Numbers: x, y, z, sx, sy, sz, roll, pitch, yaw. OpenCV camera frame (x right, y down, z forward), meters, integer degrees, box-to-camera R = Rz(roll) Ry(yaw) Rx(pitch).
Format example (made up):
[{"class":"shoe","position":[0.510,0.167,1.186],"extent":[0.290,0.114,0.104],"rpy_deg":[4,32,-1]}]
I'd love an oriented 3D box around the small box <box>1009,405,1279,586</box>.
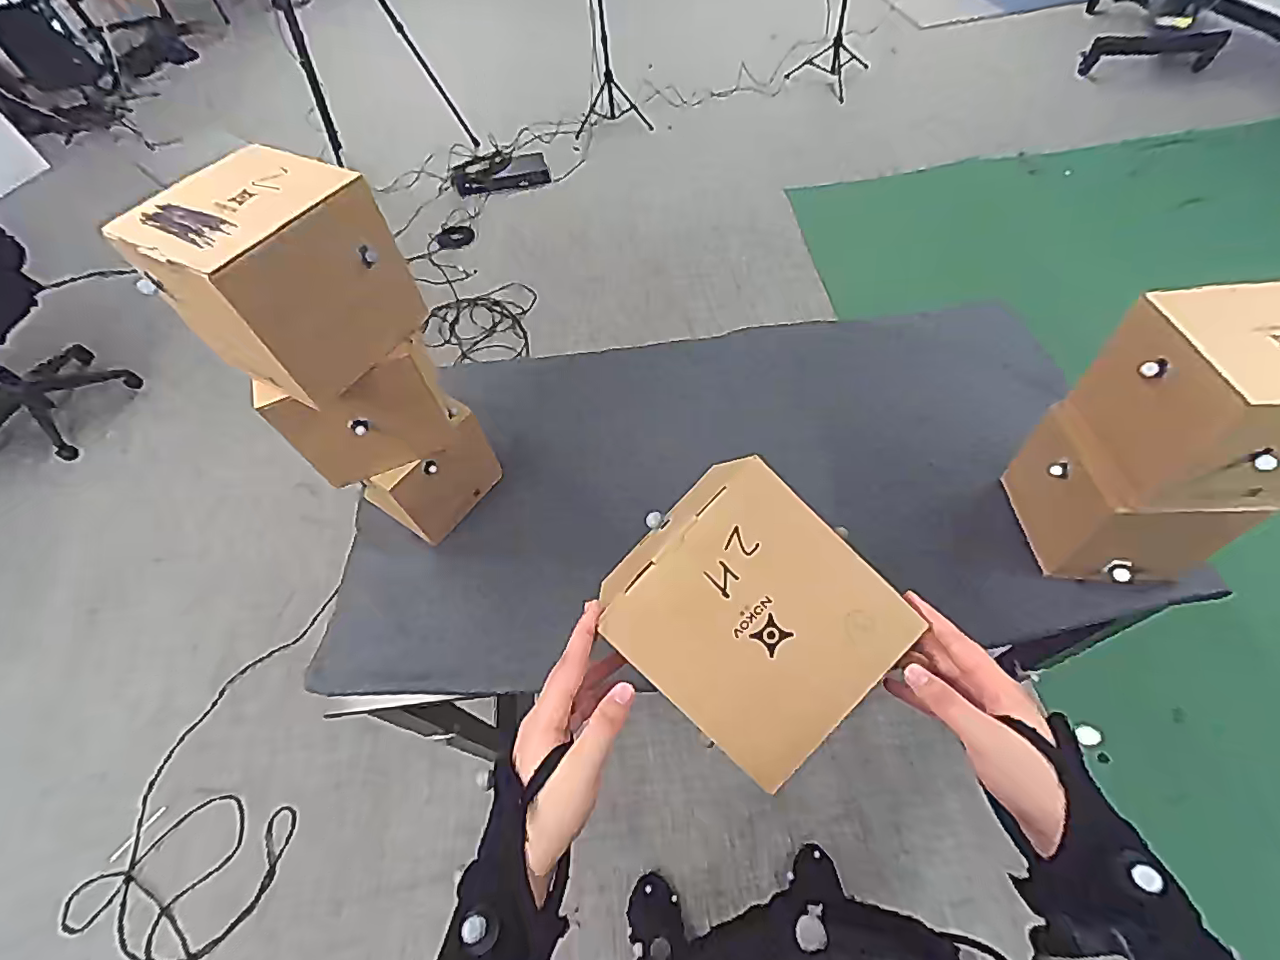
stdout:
[{"class":"small box","position":[0.621,0.019,0.700],"extent":[0.168,0.176,0.179],"rpy_deg":[-2,53,8]}]

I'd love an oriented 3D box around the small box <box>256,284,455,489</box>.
[{"class":"small box","position":[-0.362,-0.119,0.712],"extent":[0.179,0.176,0.168],"rpy_deg":[-23,57,-9]}]

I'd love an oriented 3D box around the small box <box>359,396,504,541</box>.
[{"class":"small box","position":[-0.347,-0.031,0.851],"extent":[0.179,0.176,0.168],"rpy_deg":[28,63,22]}]

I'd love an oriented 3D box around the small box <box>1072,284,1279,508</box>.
[{"class":"small box","position":[0.617,-0.081,0.572],"extent":[0.168,0.176,0.179],"rpy_deg":[-3,51,6]}]
